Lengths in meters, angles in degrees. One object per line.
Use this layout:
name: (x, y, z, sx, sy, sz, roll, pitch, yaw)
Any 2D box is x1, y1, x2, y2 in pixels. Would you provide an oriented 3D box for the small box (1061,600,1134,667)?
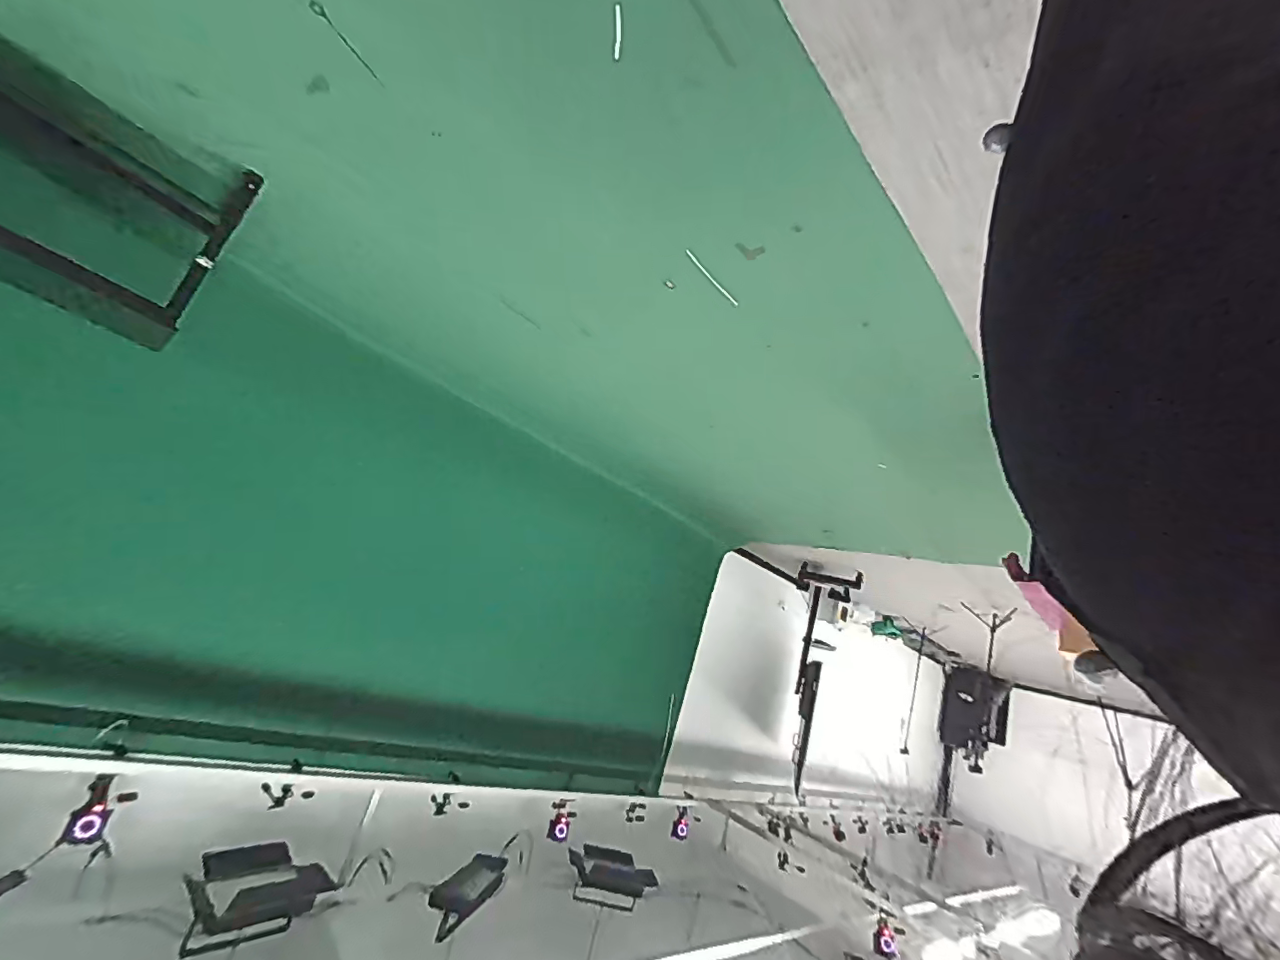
small box: (1.522, 0.506, 1.796, 0.179, 0.176, 0.168, 1, 158, 46)
